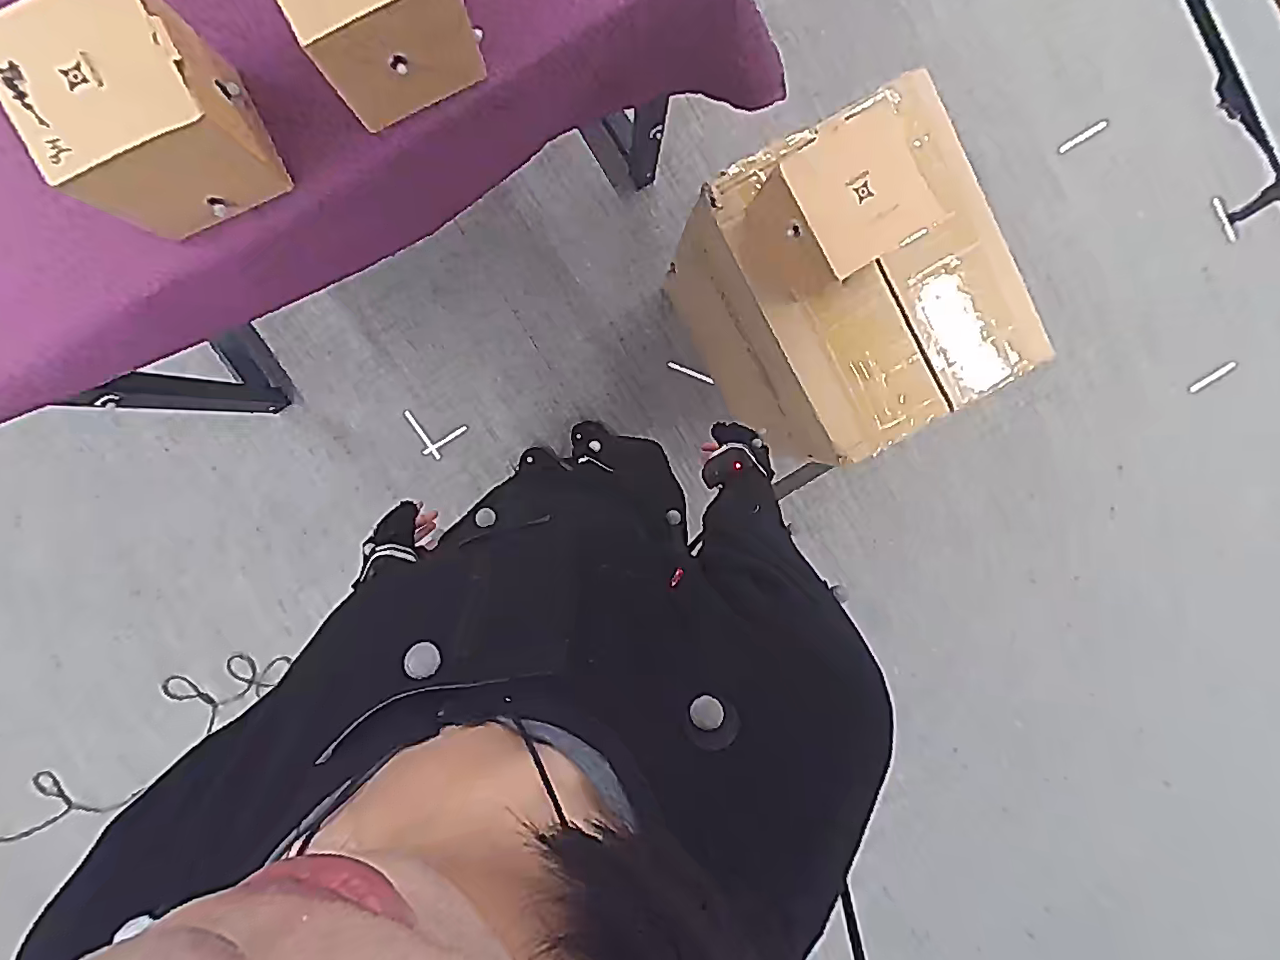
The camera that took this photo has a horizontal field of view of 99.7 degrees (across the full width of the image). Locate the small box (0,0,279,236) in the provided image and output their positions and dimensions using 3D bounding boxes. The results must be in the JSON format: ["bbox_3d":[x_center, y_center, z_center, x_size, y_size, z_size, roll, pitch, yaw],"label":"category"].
[{"bbox_3d":[-0.562,-0.417,0.624,0.179,0.176,0.168,-26,96,-2],"label":"small box"}]

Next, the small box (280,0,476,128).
[{"bbox_3d":[-0.309,-0.562,0.628,0.179,0.176,0.168,-27,95,0],"label":"small box"}]

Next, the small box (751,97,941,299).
[{"bbox_3d":[0.285,-0.392,0.788,0.168,0.176,0.179,-32,98,2],"label":"small box"}]
